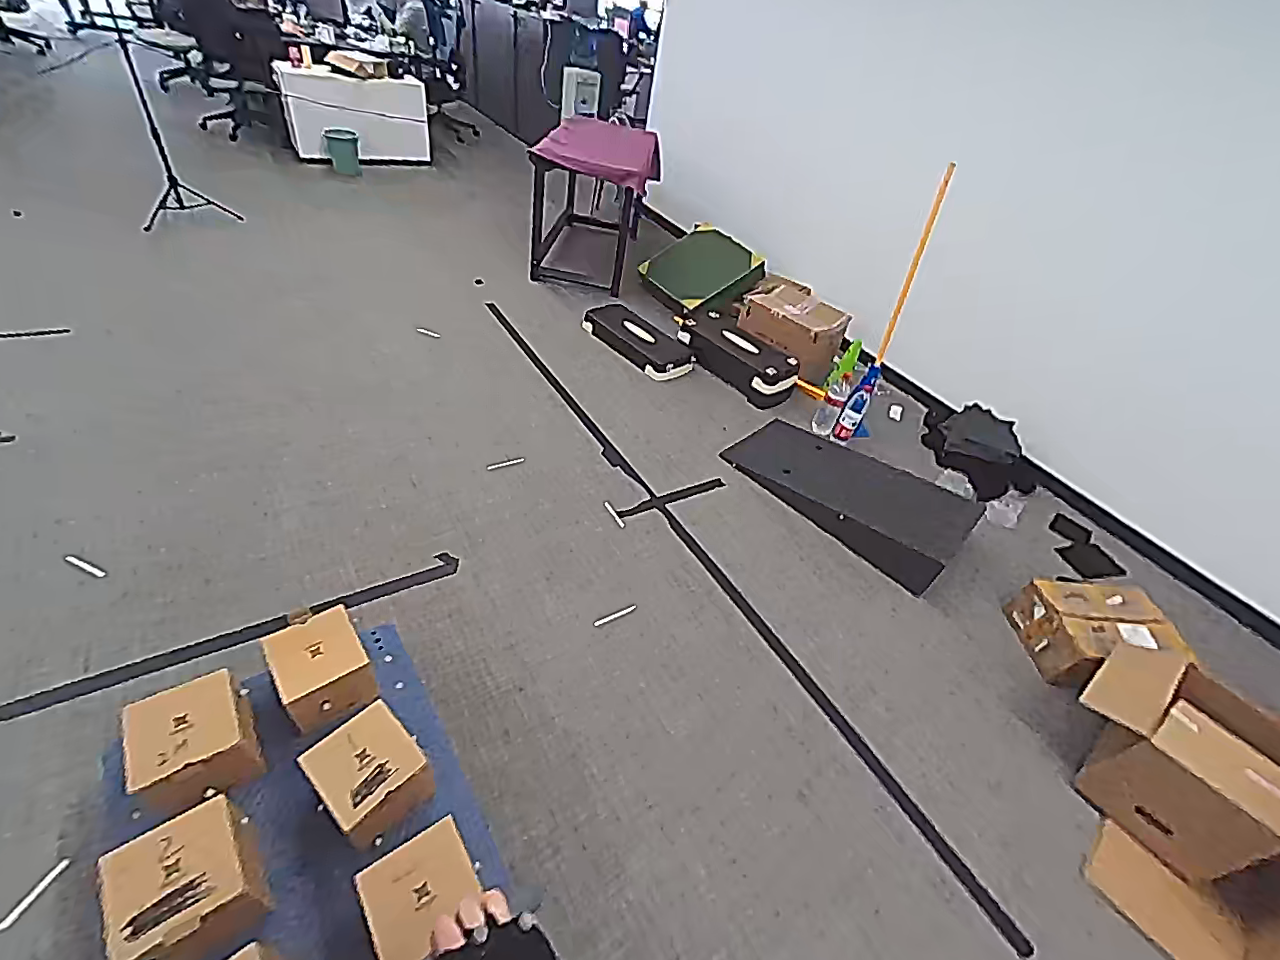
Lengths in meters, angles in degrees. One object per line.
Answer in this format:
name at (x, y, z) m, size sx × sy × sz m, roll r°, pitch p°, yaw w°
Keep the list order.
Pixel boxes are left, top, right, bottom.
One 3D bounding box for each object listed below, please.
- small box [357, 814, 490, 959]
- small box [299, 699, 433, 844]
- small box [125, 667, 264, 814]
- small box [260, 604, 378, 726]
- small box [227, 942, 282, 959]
small box at (-0.373, 0.742, 0.953) m, size 0.168 × 0.176 × 0.179 m, roll -20°, pitch 51°, yaw -32°
small box at (-0.535, 0.584, 1.077) m, size 0.179 × 0.176 × 0.168 m, roll 36°, pitch 47°, yaw 24°
small box at (-0.870, 0.511, 1.063) m, size 0.168 × 0.176 × 0.179 m, roll -19°, pitch 53°, yaw -31°
small box at (-0.708, 0.419, 1.207) m, size 0.168 × 0.176 × 0.179 m, roll -24°, pitch 54°, yaw -34°
small box at (-0.605, 0.835, 0.790) m, size 0.168 × 0.176 × 0.179 m, roll -24°, pitch 54°, yaw -35°
